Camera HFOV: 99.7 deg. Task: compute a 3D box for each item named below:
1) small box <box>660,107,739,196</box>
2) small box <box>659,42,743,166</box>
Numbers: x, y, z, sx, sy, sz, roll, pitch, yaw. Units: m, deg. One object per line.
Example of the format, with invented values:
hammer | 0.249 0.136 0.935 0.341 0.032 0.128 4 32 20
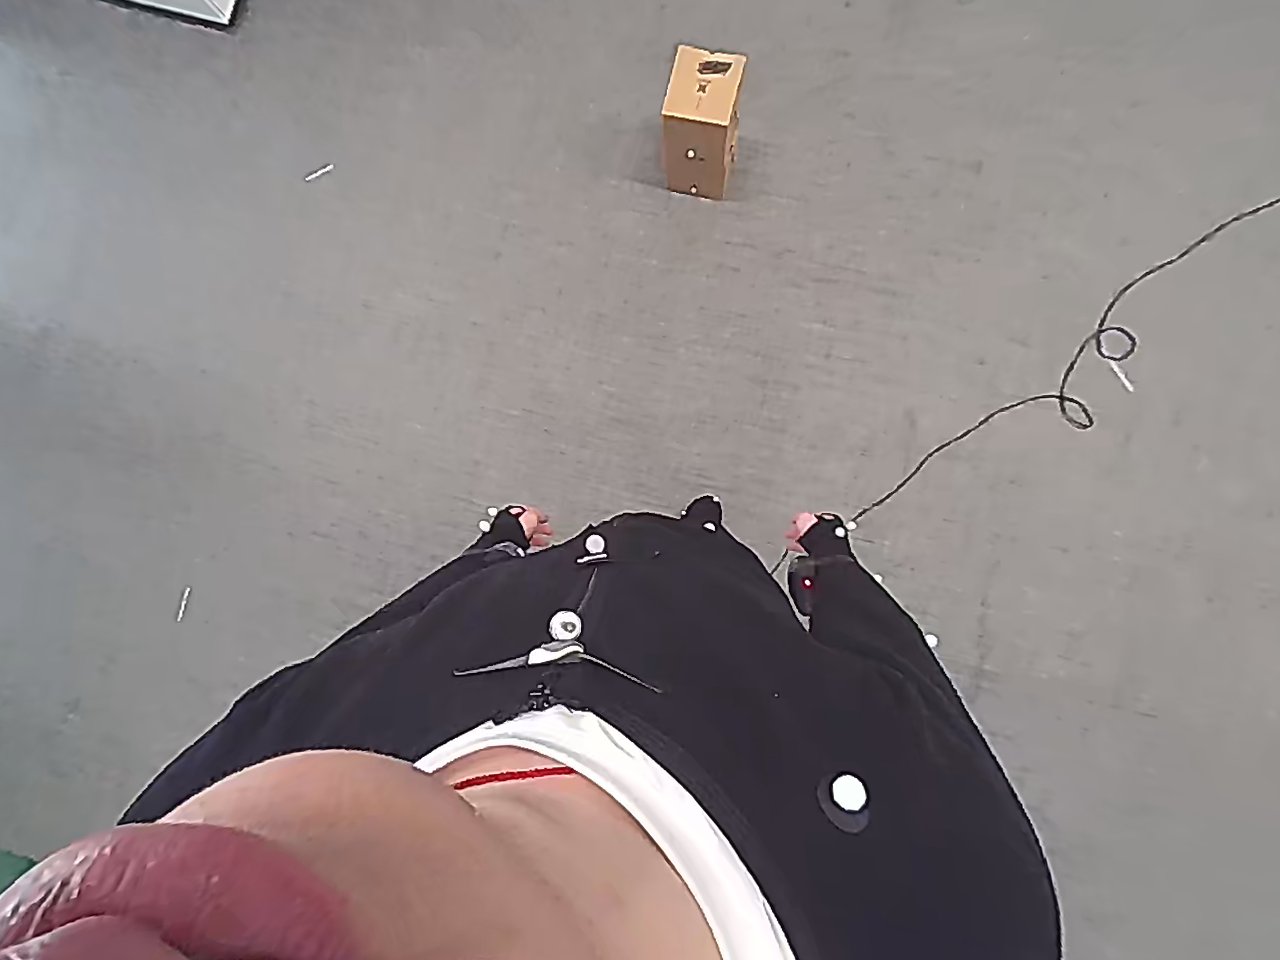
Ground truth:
small box | 0.165 -0.935 1.523 0.179 0.176 0.168 16 88 5
small box | 0.150 -0.937 1.359 0.168 0.176 0.179 15 89 6
